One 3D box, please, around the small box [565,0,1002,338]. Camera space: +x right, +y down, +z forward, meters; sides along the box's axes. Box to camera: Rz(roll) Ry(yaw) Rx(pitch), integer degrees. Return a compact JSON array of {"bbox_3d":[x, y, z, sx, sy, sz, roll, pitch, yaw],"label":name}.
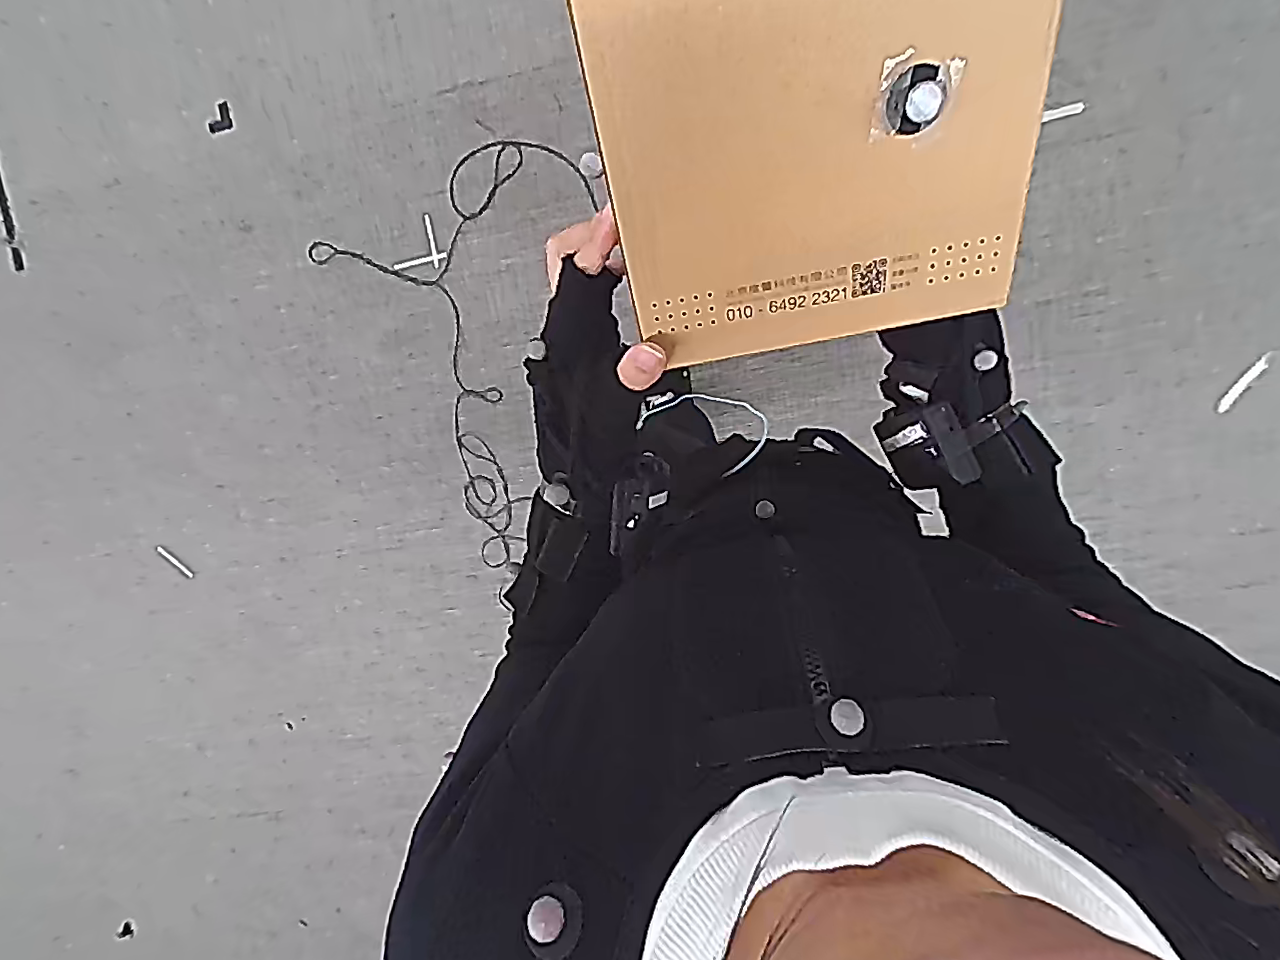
[{"bbox_3d":[0.070,-0.188,0.294,0.168,0.179,0.176,-8,125,9],"label":"small box"}]
